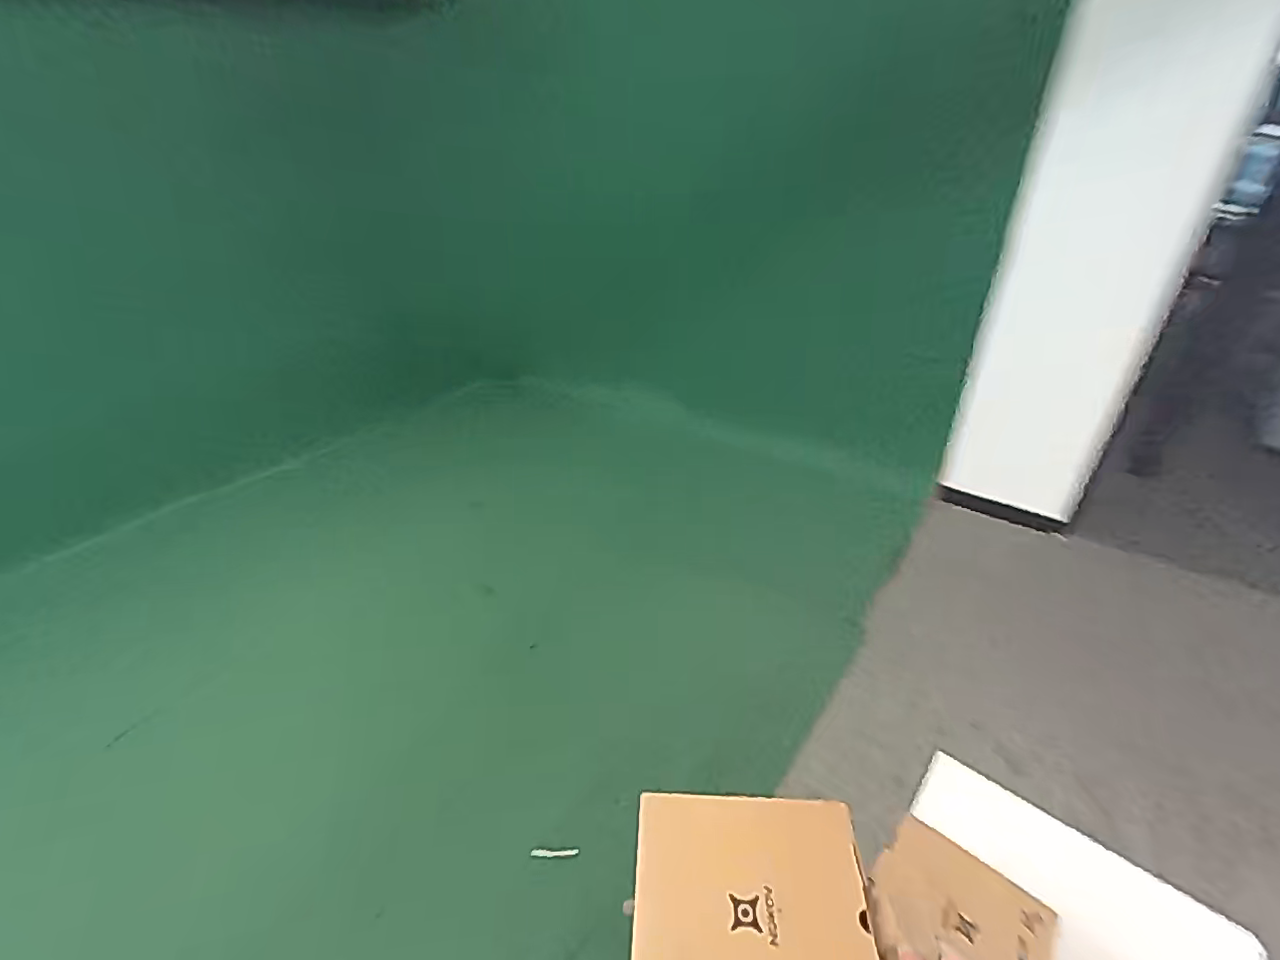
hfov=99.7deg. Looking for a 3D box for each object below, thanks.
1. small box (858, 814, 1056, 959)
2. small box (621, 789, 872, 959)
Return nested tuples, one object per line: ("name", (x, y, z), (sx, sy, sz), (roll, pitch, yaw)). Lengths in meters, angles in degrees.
("small box", (0.360, 0.571, 0.661), (0.179, 0.176, 0.168), (25, 43, 36))
("small box", (0.078, 0.382, 0.443), (0.179, 0.176, 0.168), (0, 33, 4))
